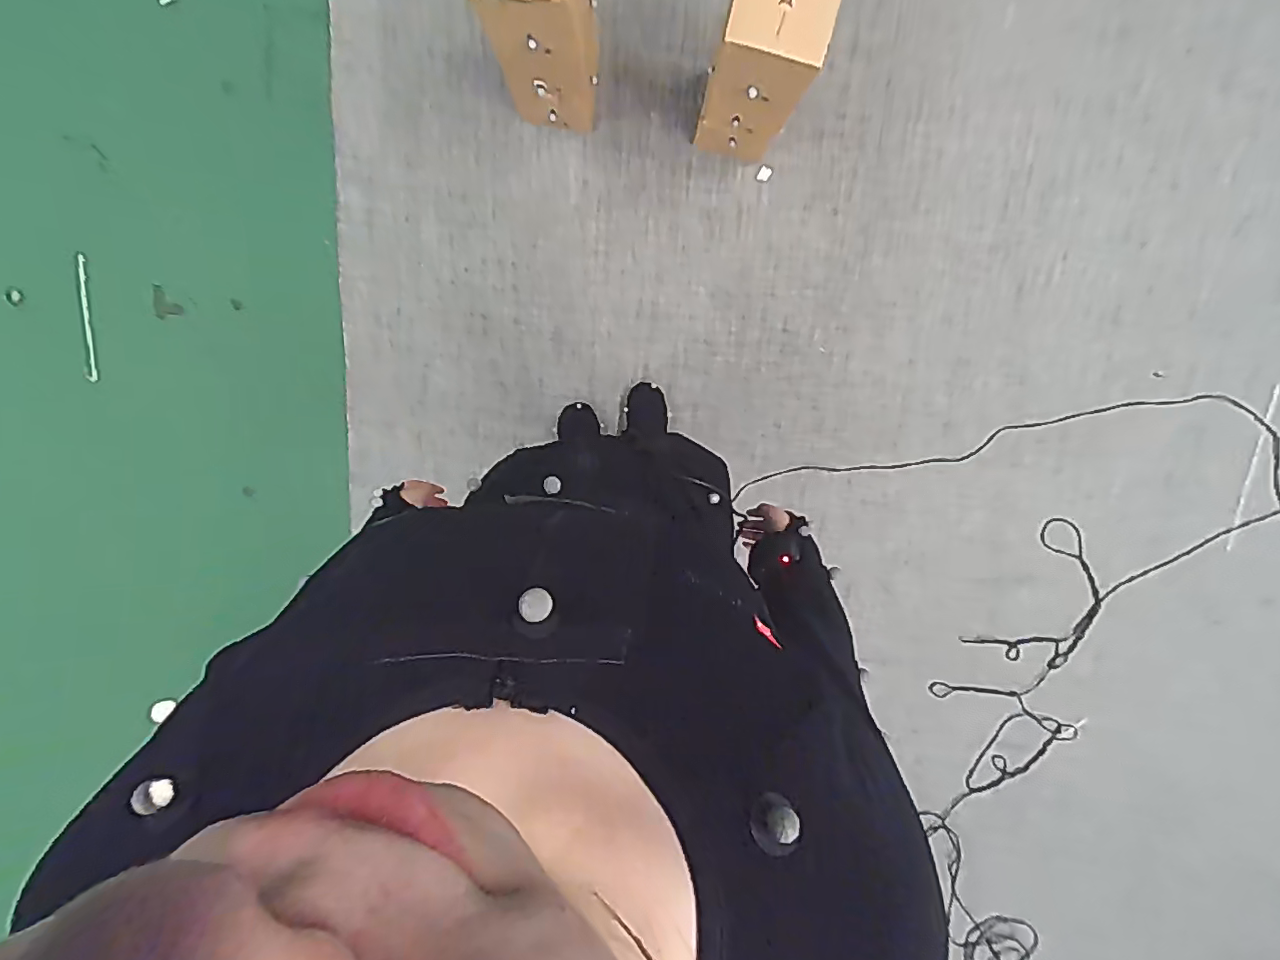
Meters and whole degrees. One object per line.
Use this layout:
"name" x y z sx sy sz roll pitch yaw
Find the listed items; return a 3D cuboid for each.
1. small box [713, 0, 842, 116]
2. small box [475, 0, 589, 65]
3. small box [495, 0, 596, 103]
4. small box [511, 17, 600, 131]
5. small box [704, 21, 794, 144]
"small box" 0.232 -0.772 0.929 0.168 0.176 0.179 14 104 -4
"small box" -0.177 -0.847 0.907 0.168 0.176 0.179 6 103 0
"small box" -0.180 -0.887 1.067 0.168 0.176 0.179 6 104 -1
"small box" -0.185 -0.925 1.225 0.168 0.176 0.179 9 103 -3
"small box" 0.232 -0.818 1.087 0.168 0.176 0.179 12 103 -3
